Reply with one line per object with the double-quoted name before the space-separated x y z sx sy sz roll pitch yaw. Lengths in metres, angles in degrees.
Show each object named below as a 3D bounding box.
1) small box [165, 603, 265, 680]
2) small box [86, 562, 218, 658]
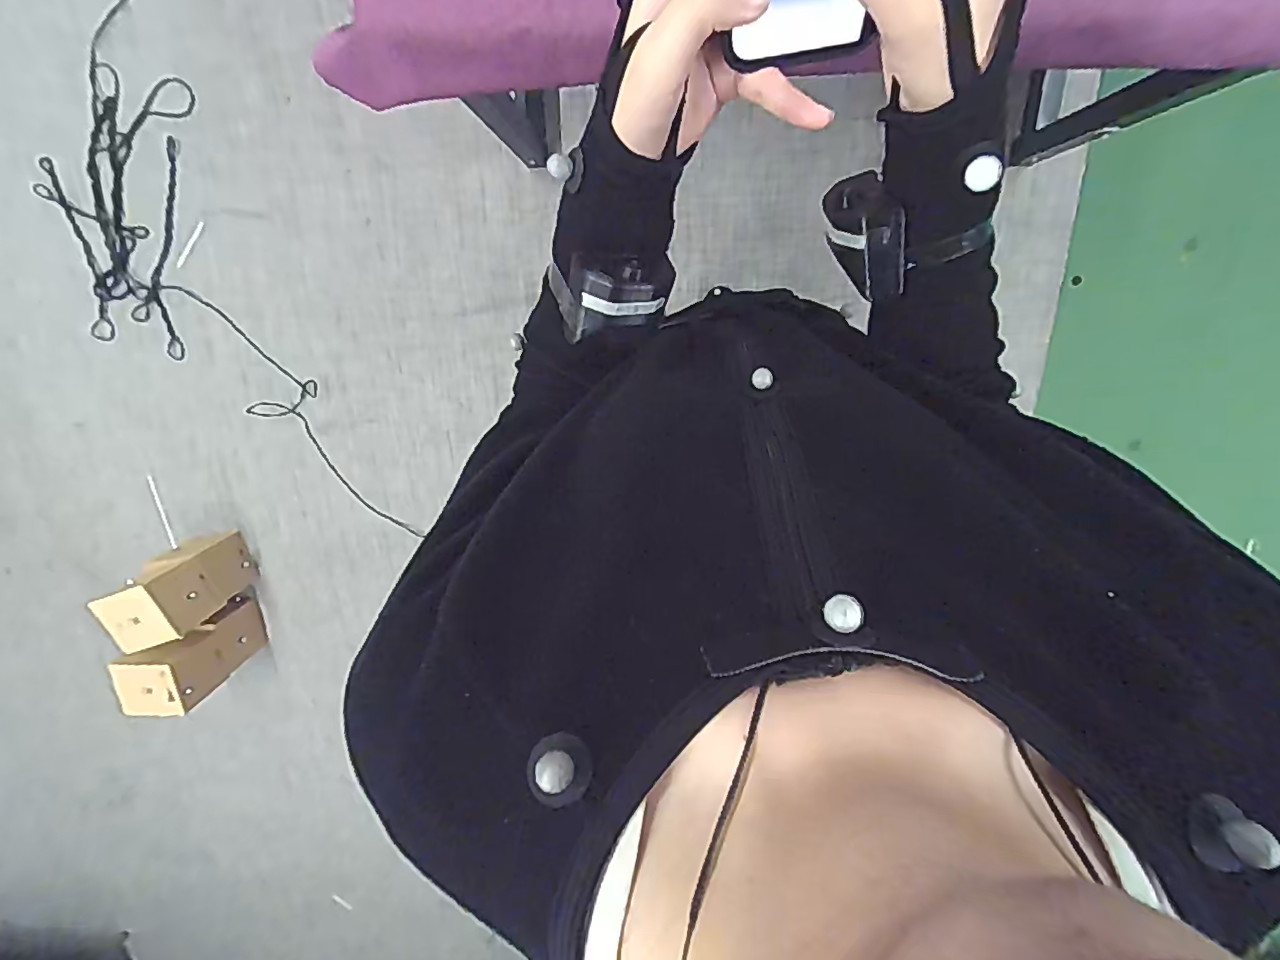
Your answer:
"small box" -1.305 0.490 1.663 0.168 0.176 0.179 0 108 4
"small box" -1.284 0.340 1.444 0.179 0.176 0.168 -17 106 9
